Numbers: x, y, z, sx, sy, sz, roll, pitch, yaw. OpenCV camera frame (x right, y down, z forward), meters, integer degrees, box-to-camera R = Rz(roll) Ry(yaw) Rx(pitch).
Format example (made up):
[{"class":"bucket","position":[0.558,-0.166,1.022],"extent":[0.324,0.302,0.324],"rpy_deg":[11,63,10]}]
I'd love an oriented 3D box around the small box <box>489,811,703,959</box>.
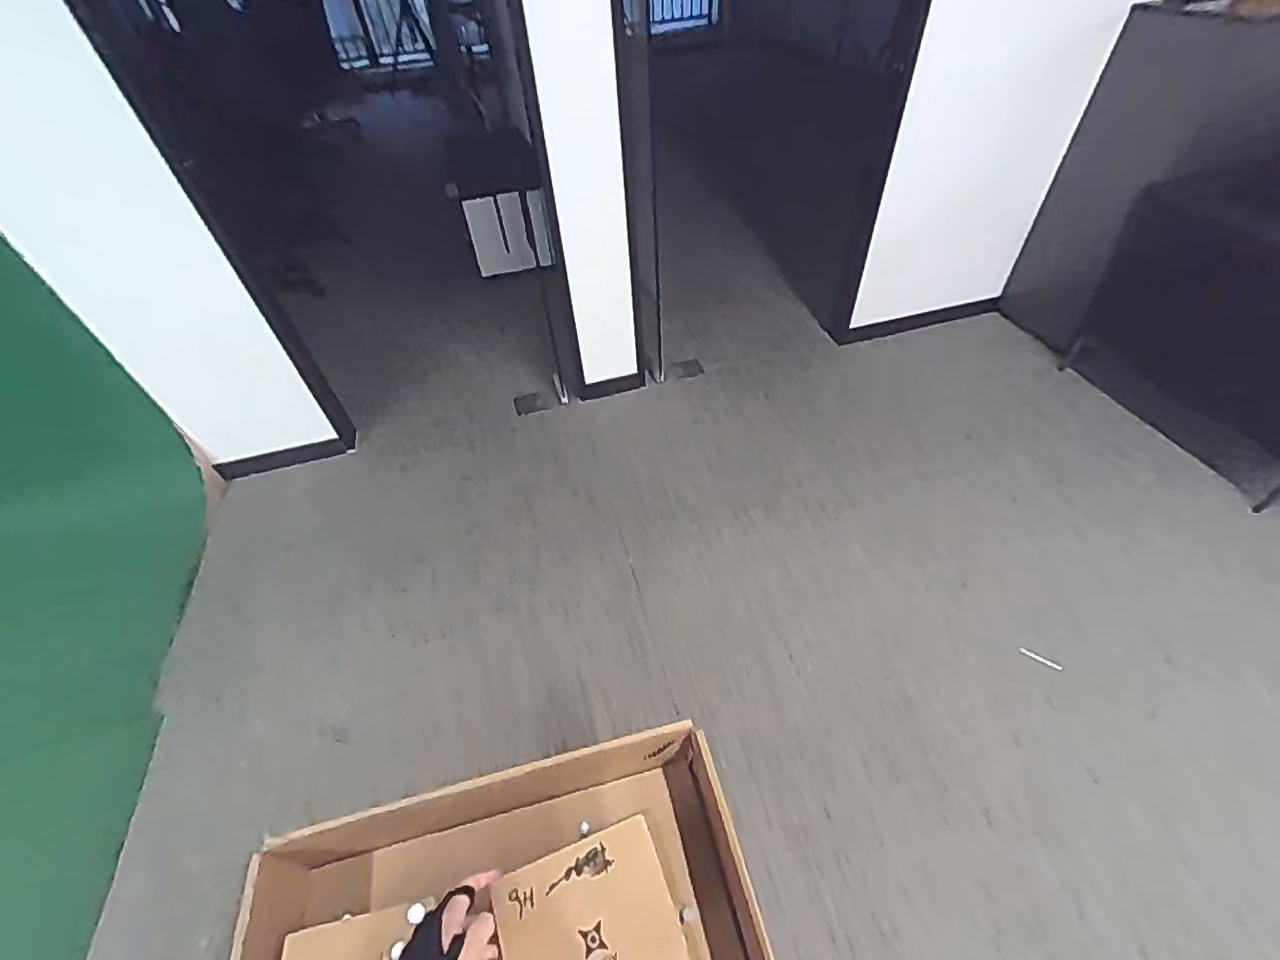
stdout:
[{"class":"small box","position":[-0.036,0.475,0.566],"extent":[0.168,0.176,0.179],"rpy_deg":[-21,61,-7]}]
